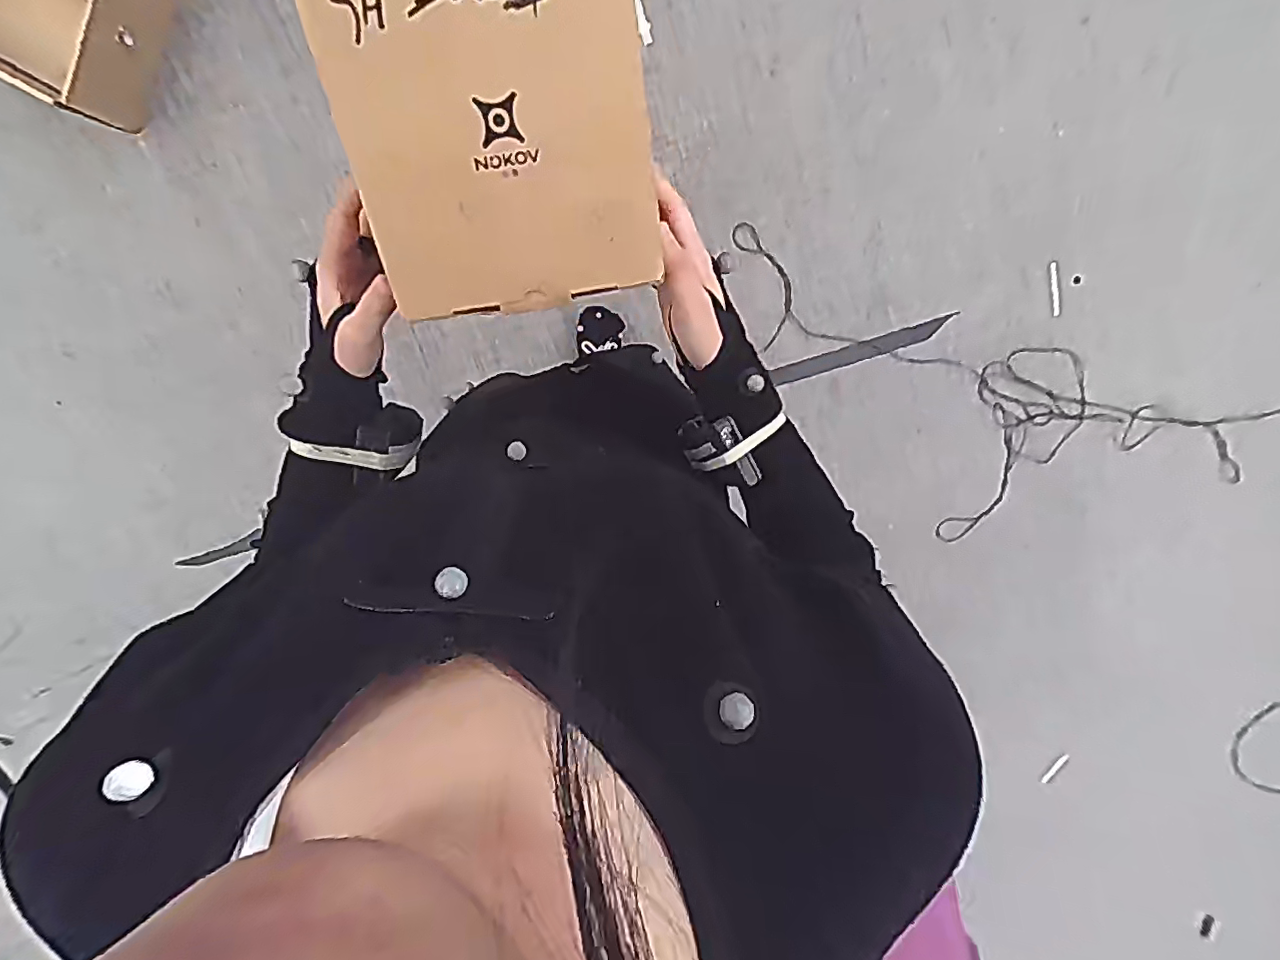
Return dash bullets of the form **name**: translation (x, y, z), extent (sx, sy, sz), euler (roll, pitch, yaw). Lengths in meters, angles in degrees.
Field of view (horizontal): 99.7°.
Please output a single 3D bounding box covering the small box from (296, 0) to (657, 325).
- **small box**: translation (-0.088, -0.222, 0.370), extent (0.168, 0.176, 0.179), euler (-11, 118, -4)
